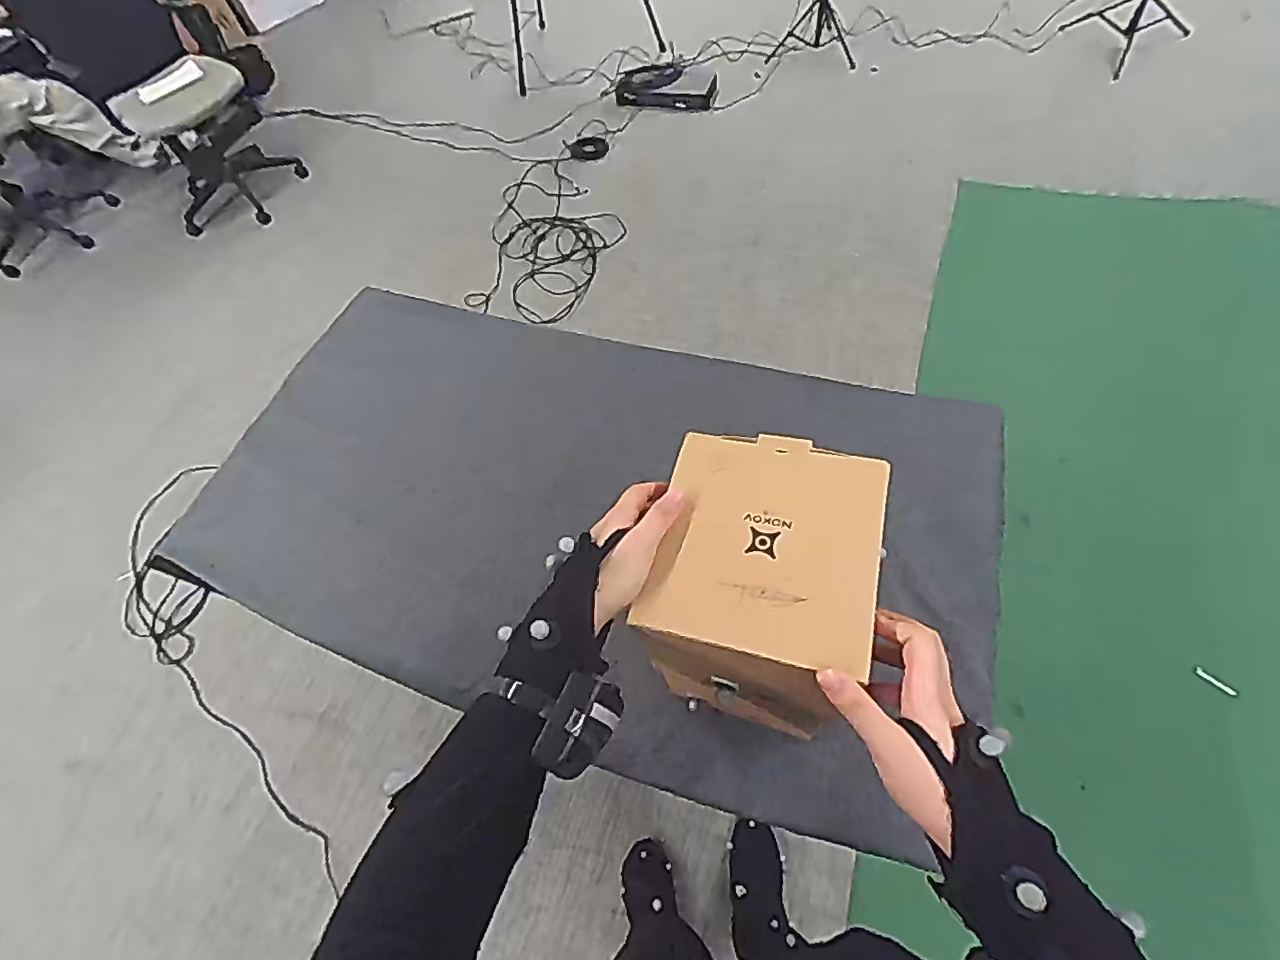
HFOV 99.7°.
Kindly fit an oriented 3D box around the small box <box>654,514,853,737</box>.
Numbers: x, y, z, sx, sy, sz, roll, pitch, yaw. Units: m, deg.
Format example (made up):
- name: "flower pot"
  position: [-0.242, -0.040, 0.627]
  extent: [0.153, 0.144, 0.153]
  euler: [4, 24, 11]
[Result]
- name: "small box"
  position: [0.129, 0.168, 0.607]
  extent: [0.168, 0.176, 0.179]
  euler: [13, 61, 18]
